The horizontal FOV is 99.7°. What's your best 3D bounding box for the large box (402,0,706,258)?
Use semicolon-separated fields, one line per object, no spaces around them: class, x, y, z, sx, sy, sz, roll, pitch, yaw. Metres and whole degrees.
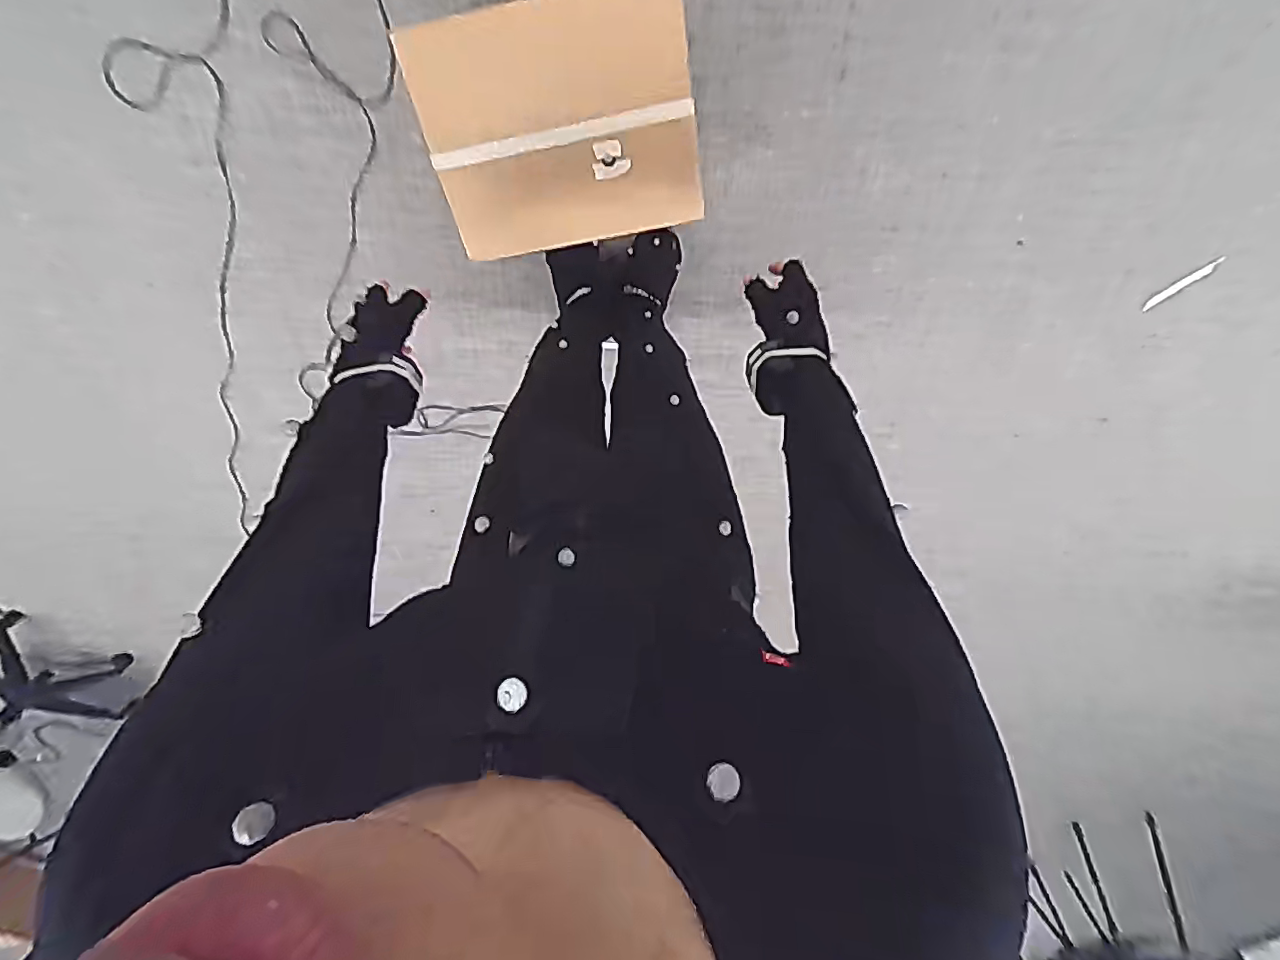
large box;-0.116;-0.618;0.938;0.408;0.320;0.320;-9;127;5
